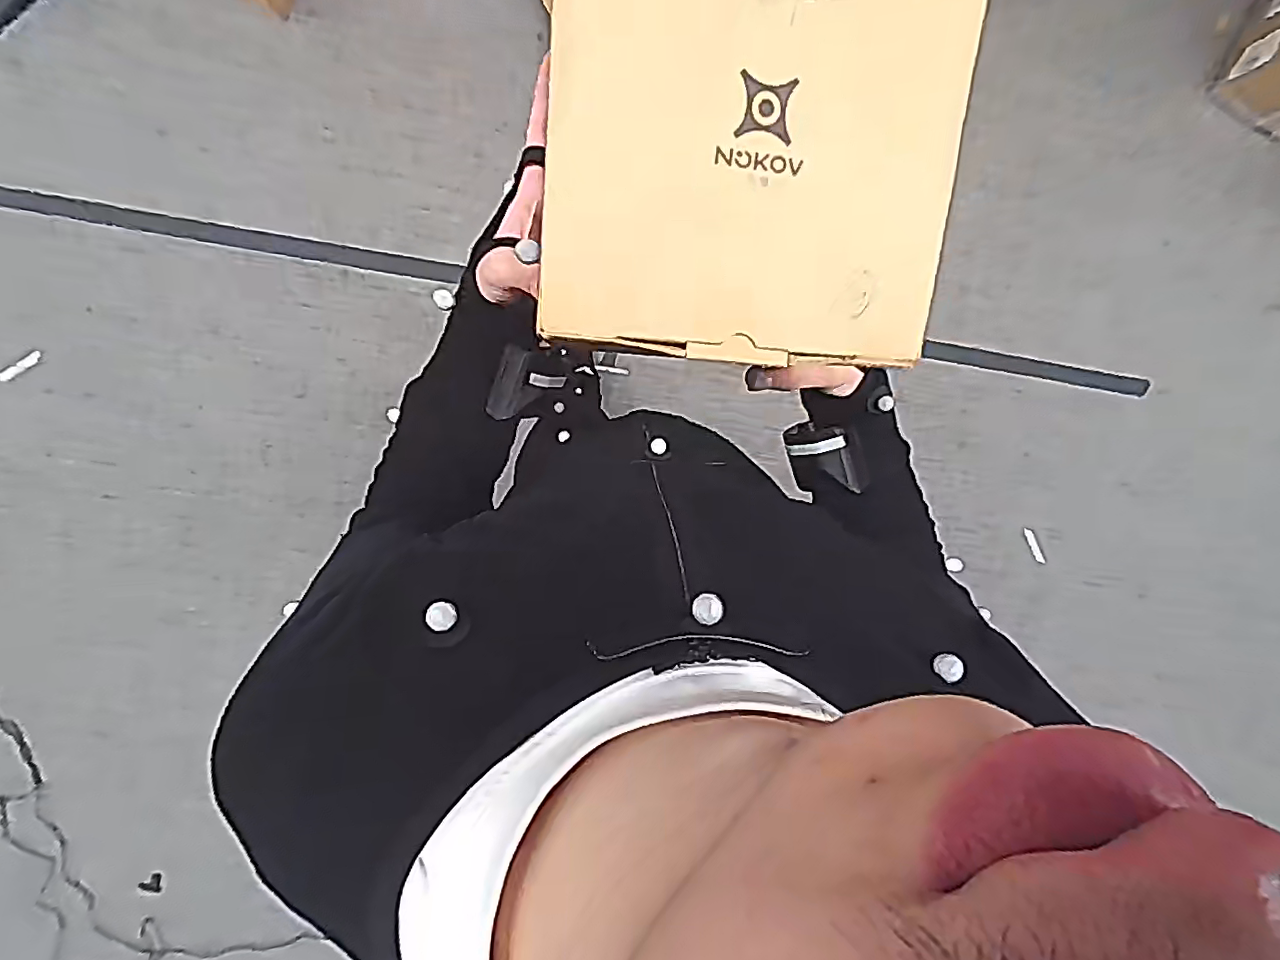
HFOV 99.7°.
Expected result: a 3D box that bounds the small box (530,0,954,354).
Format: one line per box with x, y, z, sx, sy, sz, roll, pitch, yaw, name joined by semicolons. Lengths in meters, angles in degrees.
0.031;-0.163;0.296;0.168;0.176;0.179;2;101;-9;small box
